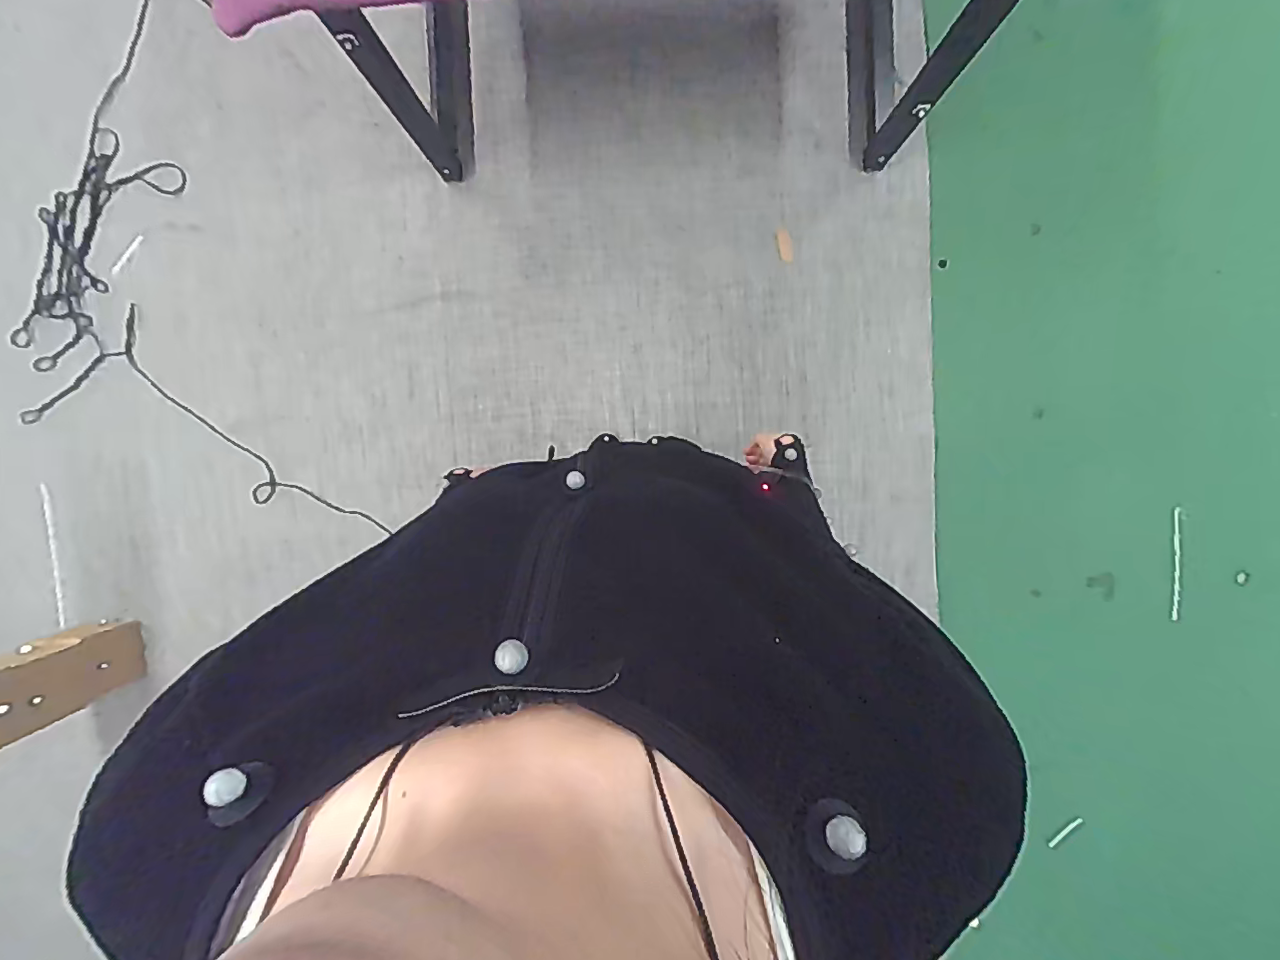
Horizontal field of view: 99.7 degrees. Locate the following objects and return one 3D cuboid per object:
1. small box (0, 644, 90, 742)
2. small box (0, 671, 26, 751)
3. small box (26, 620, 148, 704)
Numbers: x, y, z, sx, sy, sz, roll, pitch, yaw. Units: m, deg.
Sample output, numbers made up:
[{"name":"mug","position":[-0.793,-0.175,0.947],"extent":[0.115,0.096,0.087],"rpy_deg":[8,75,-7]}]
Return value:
[{"name":"small box","position":[-1.516,0.521,1.329],"extent":[0.168,0.176,0.179],"rpy_deg":[-4,93,0]},{"name":"small box","position":[-1.504,0.525,1.166],"extent":[0.168,0.176,0.179],"rpy_deg":[-6,93,1]},{"name":"small box","position":[-1.513,0.501,1.492],"extent":[0.168,0.176,0.179],"rpy_deg":[-4,93,1]}]
